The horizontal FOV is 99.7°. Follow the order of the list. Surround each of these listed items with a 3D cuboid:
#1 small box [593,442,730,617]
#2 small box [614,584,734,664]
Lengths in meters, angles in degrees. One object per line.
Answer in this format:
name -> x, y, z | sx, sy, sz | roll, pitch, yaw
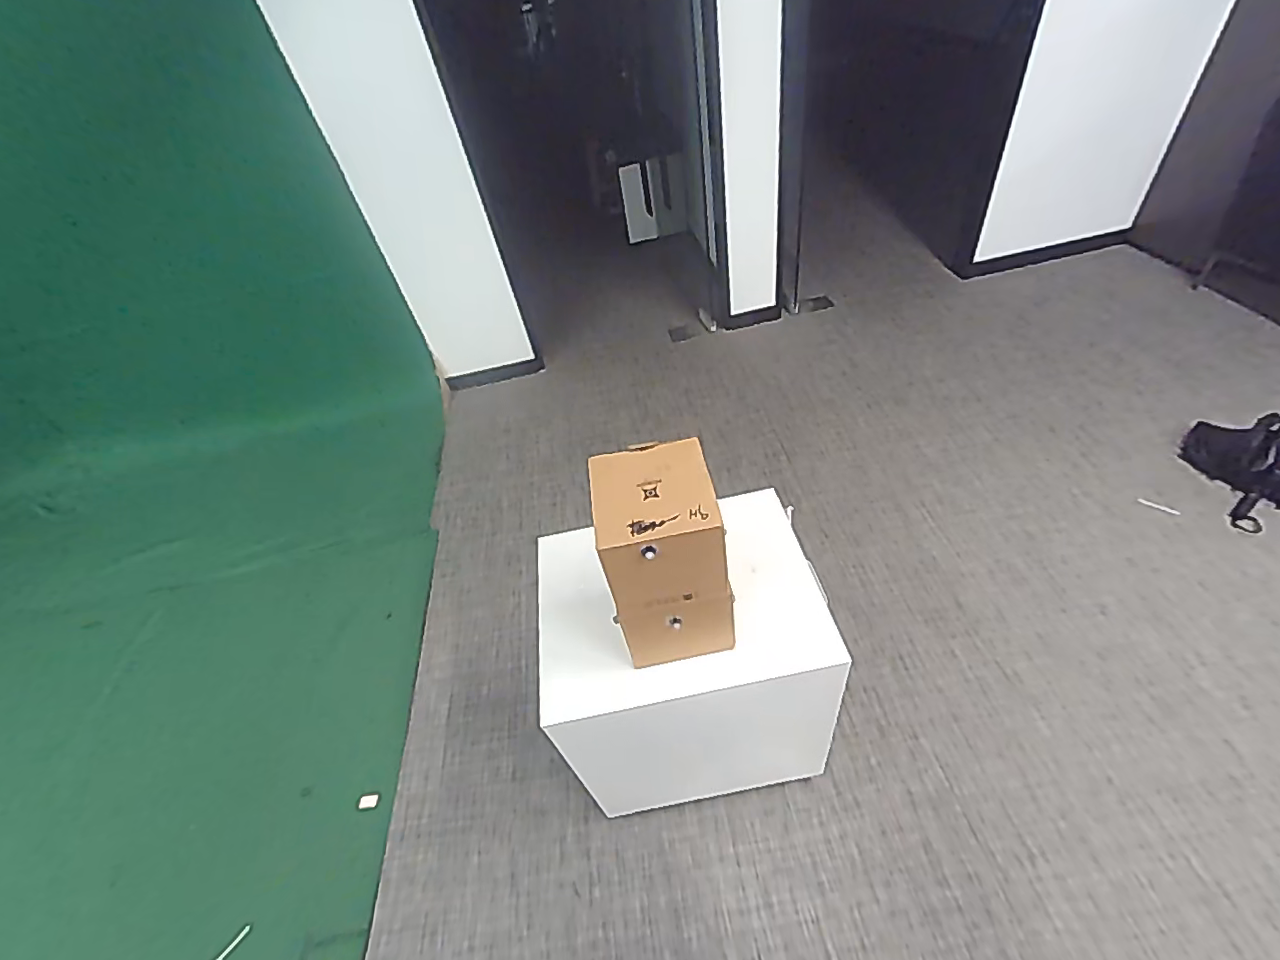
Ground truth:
small box -> 0.031, 0.073, 0.802 | 0.168, 0.176, 0.179 | -12, 45, -1
small box -> 0.054, 0.189, 0.912 | 0.179, 0.176, 0.168 | -11, 45, 0
